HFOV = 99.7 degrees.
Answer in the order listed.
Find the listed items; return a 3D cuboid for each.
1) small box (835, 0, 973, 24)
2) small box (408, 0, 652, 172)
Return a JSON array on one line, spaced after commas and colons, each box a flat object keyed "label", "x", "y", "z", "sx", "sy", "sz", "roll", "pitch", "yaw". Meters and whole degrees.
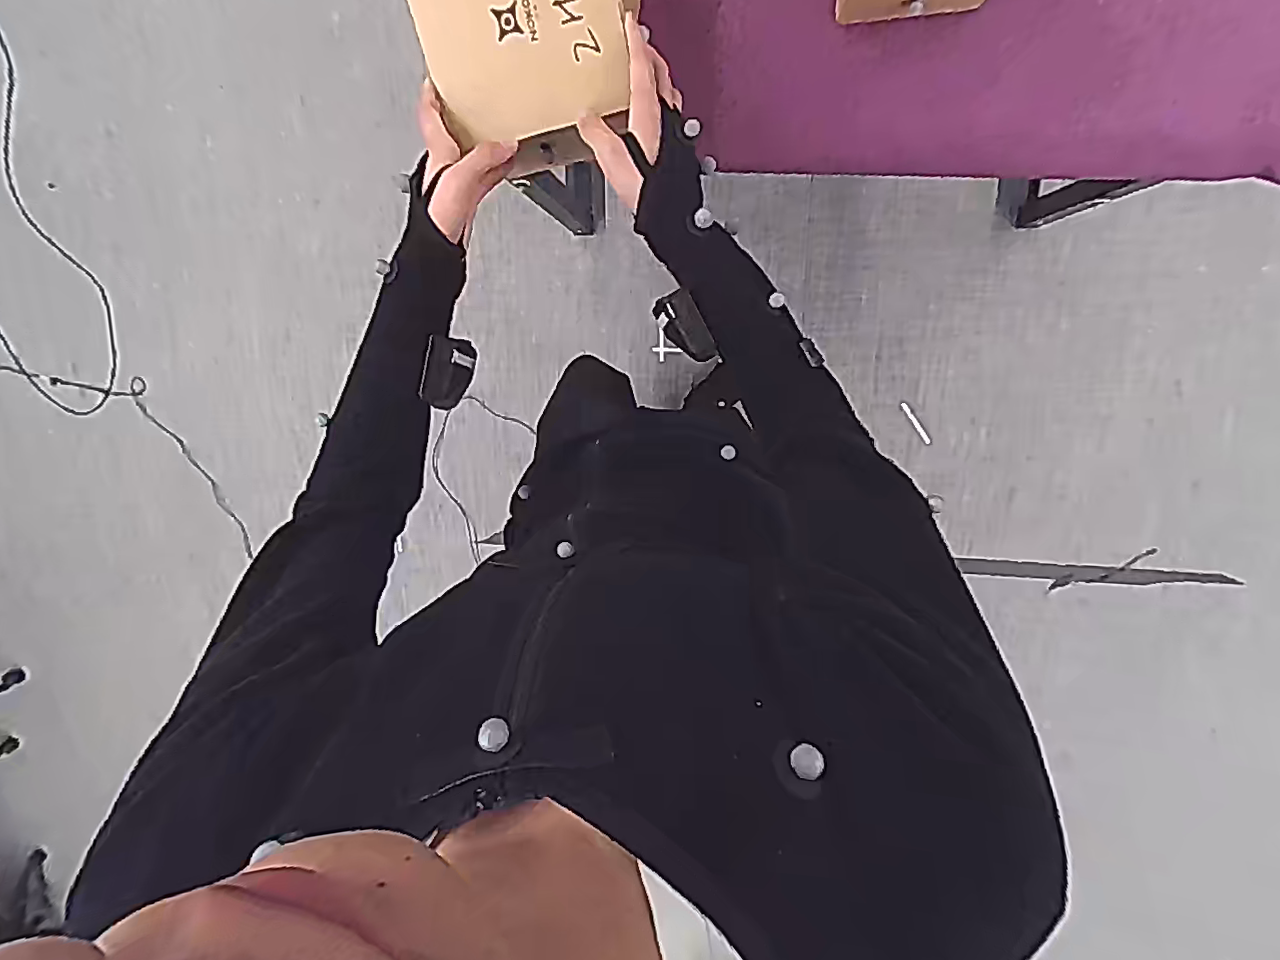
[{"label": "small box", "x": 0.328, "y": -0.649, "z": 0.594, "sx": 0.179, "sy": 0.176, "sz": 0.168, "roll": -1, "pitch": 102, "yaw": 7}, {"label": "small box", "x": -0.092, "y": -0.410, "z": 0.516, "sx": 0.179, "sy": 0.176, "sz": 0.168, "roll": -9, "pitch": 113, "yaw": 9}]
